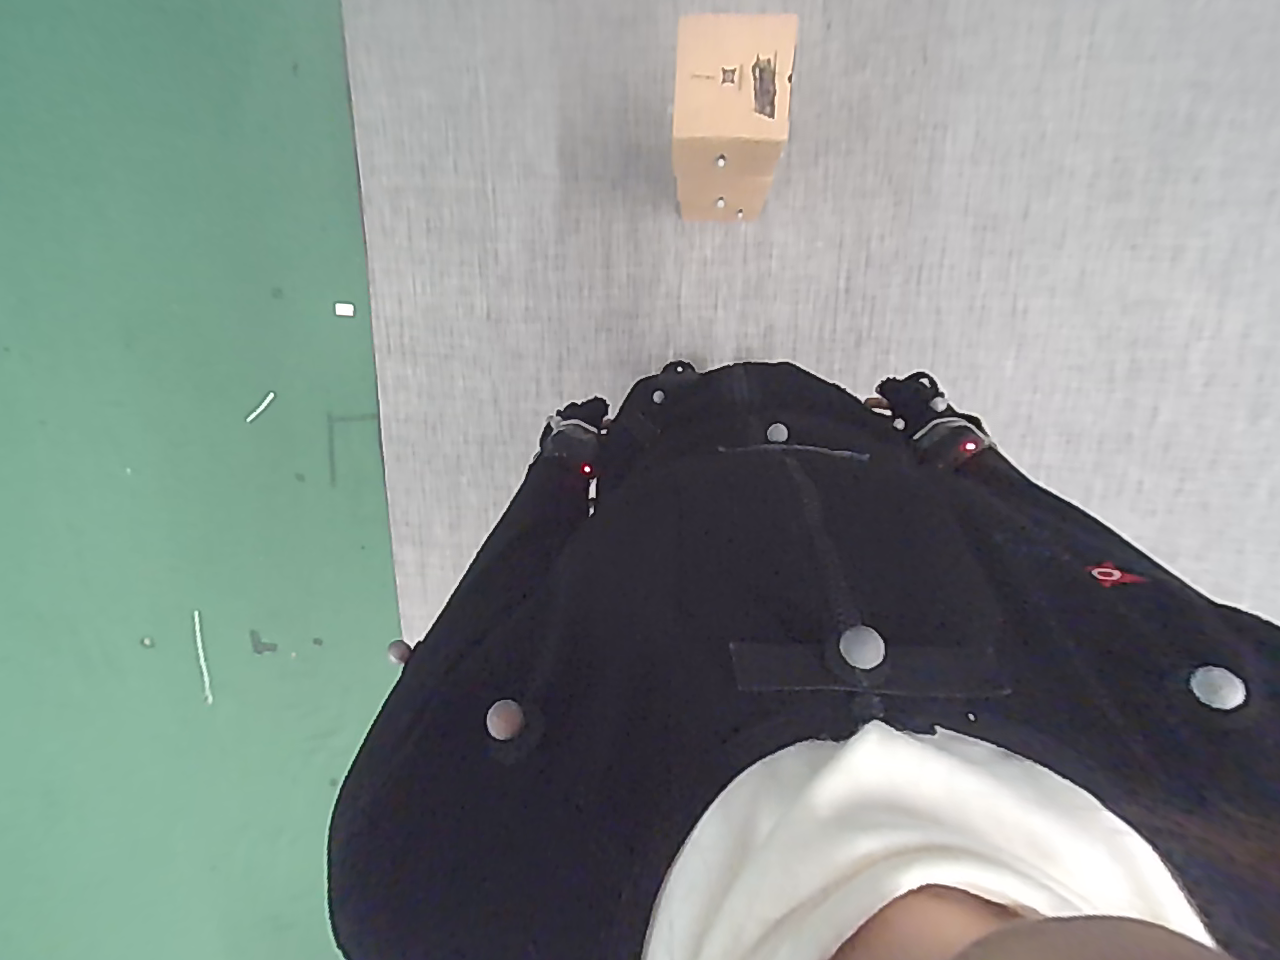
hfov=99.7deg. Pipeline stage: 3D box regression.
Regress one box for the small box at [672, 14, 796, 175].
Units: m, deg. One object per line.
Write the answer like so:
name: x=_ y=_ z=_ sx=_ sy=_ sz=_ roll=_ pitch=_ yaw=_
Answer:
small box: x=0.143 y=-0.615 z=0.881 sx=0.179 sy=0.176 sz=0.168 roll=1 pitch=103 yaw=3

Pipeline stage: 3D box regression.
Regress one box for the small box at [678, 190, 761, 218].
small box: x=0.176 y=-0.691 z=1.199 sx=0.179 sy=0.176 sz=0.168 roll=2 pitch=102 yaw=6

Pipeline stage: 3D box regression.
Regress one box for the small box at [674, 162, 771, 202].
small box: x=0.161 y=-0.649 z=1.042 sx=0.179 sy=0.176 sz=0.168 roll=6 pitch=103 yaw=3
